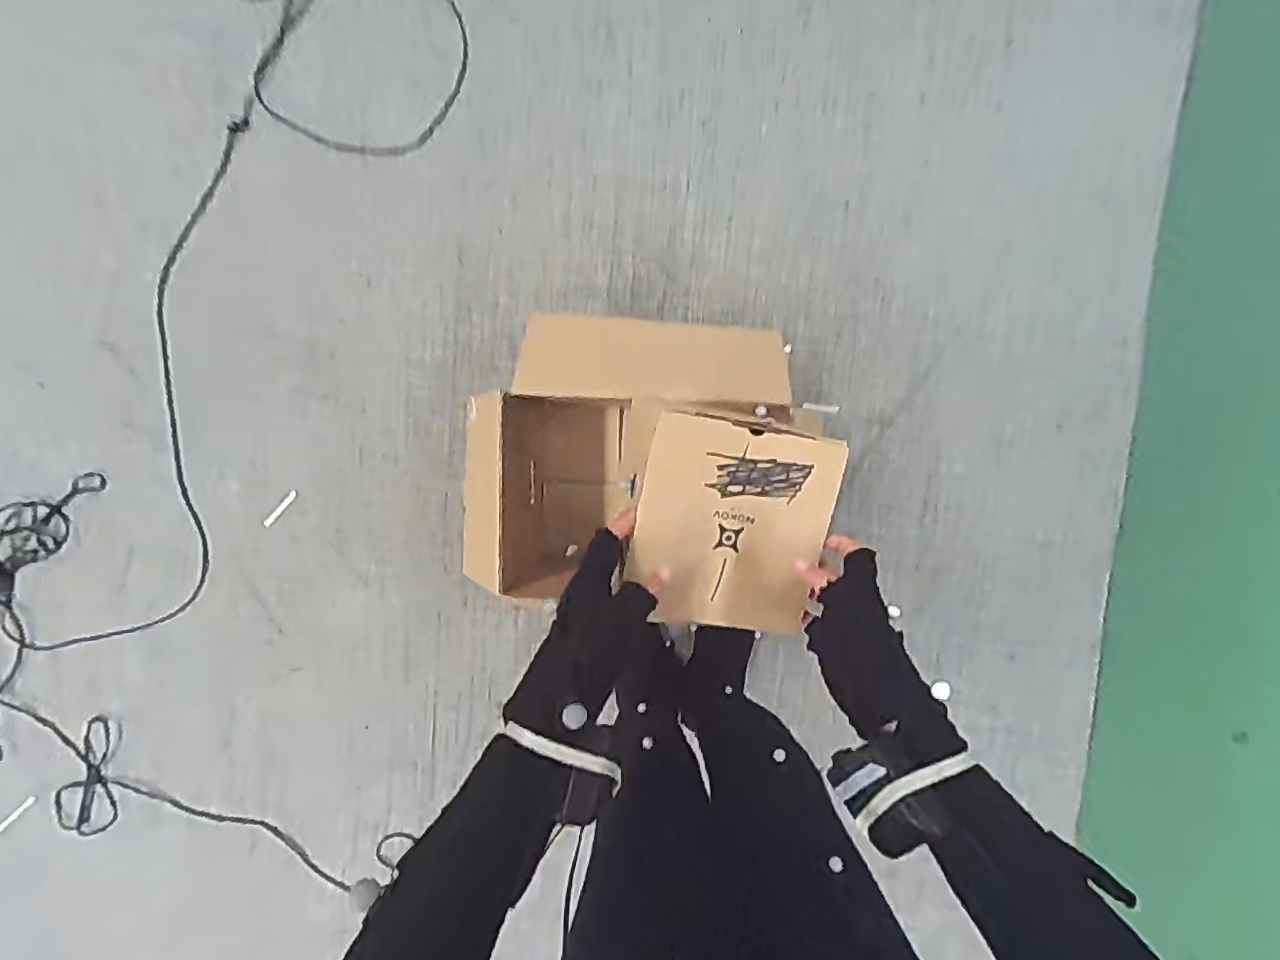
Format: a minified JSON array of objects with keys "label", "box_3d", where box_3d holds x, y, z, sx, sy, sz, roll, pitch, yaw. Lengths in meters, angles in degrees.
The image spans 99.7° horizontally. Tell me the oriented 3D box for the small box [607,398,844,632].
[{"label":"small box","box_3d":[0.065,0.021,0.527,0.168,0.176,0.179,10,102,-10]}]
